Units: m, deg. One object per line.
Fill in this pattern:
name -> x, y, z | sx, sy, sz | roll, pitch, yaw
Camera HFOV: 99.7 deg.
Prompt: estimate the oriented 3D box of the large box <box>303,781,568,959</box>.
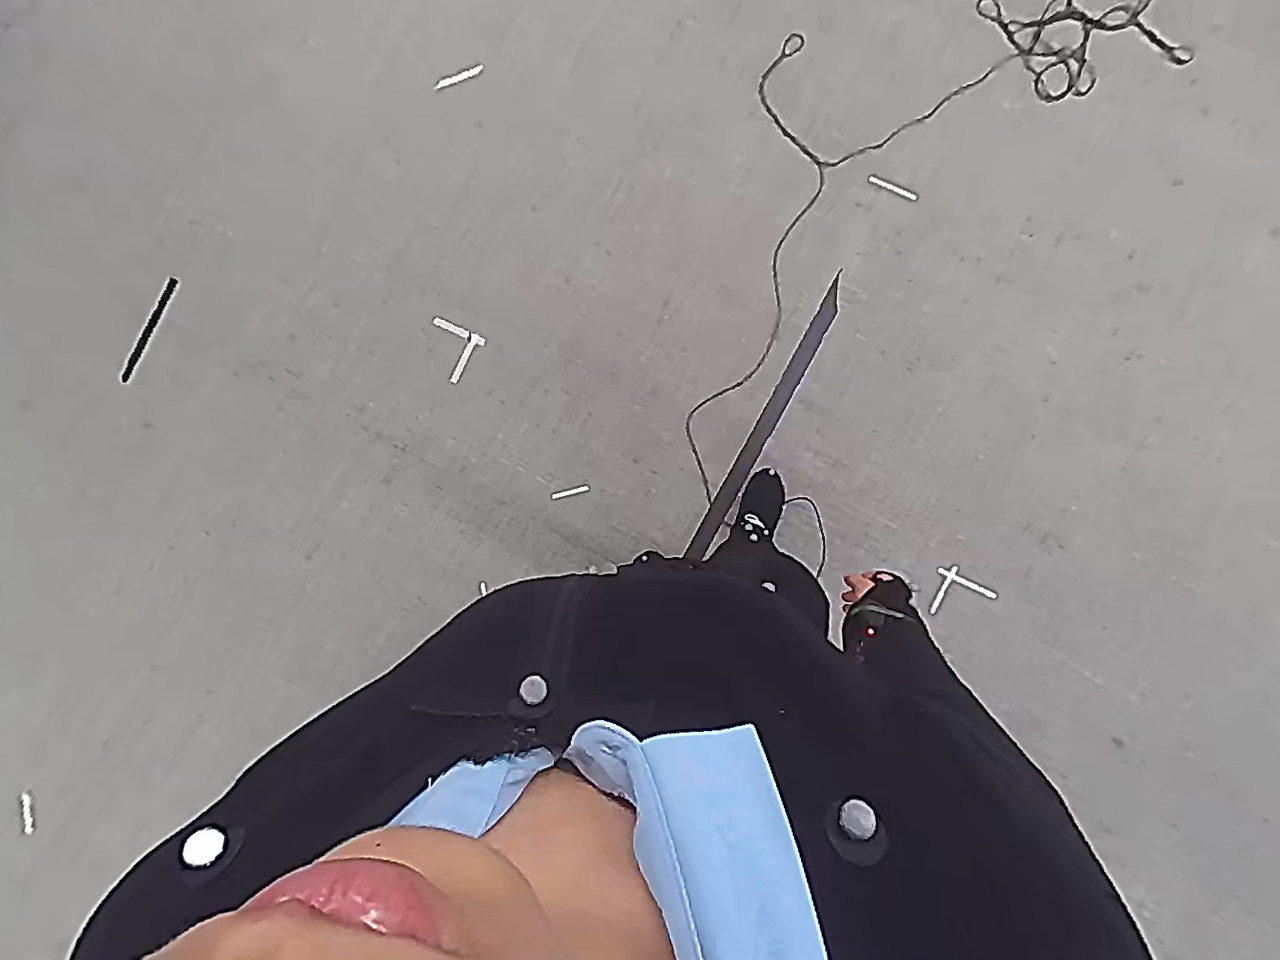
large box -> -0.424, 0.944, 1.165 | 0.408, 0.320, 0.320 | 26, 89, 7
